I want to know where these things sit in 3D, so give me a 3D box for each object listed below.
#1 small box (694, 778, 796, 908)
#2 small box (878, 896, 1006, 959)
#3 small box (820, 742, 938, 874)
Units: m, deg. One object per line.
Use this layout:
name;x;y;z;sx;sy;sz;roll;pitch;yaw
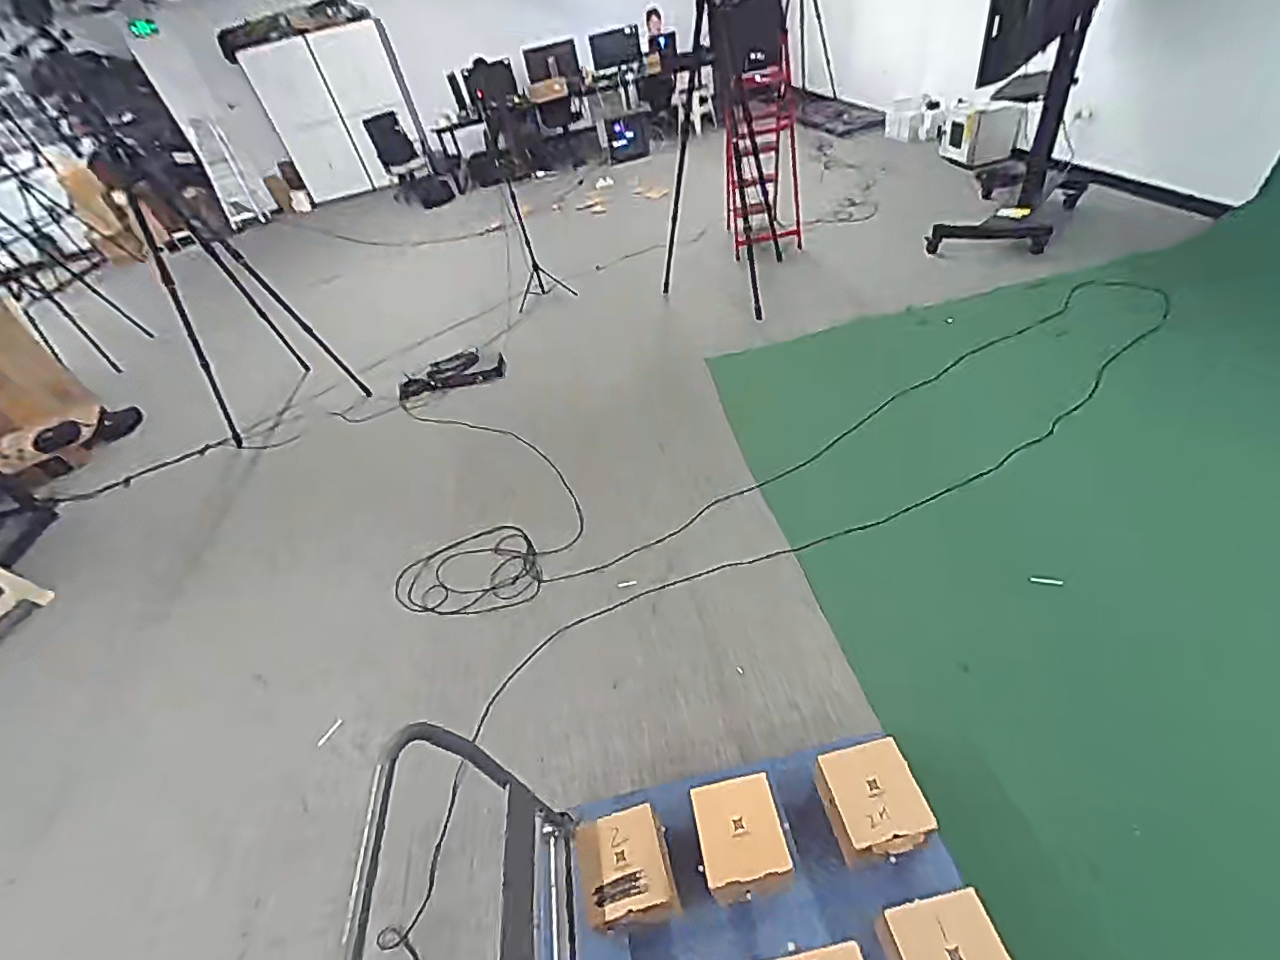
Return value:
small box;0.216;0.761;1.134;0.168;0.176;0.179;-14;43;1
small box;0.540;0.867;0.945;0.168;0.176;0.179;-14;41;0
small box;0.486;0.687;1.132;0.168;0.176;0.179;-15;42;1
